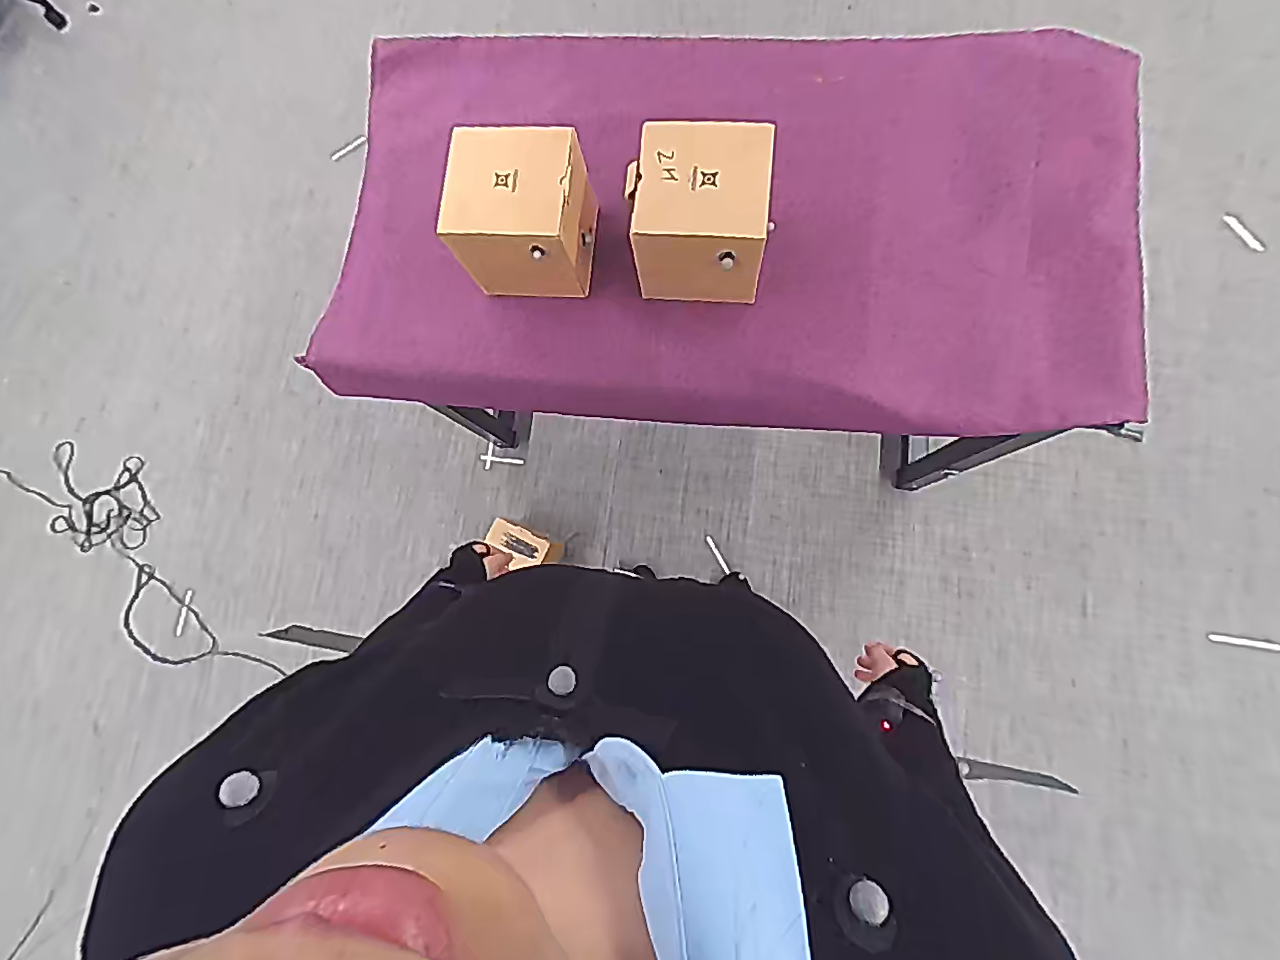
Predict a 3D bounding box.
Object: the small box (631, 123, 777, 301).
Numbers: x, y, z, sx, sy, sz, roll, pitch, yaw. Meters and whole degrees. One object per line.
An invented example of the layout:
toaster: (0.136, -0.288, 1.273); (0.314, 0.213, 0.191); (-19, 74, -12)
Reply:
small box: (0.091, -0.372, 0.775); (0.179, 0.176, 0.168); (5, 80, 8)

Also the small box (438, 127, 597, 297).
small box: (-0.172, -0.391, 0.810); (0.179, 0.176, 0.168); (4, 81, 6)
